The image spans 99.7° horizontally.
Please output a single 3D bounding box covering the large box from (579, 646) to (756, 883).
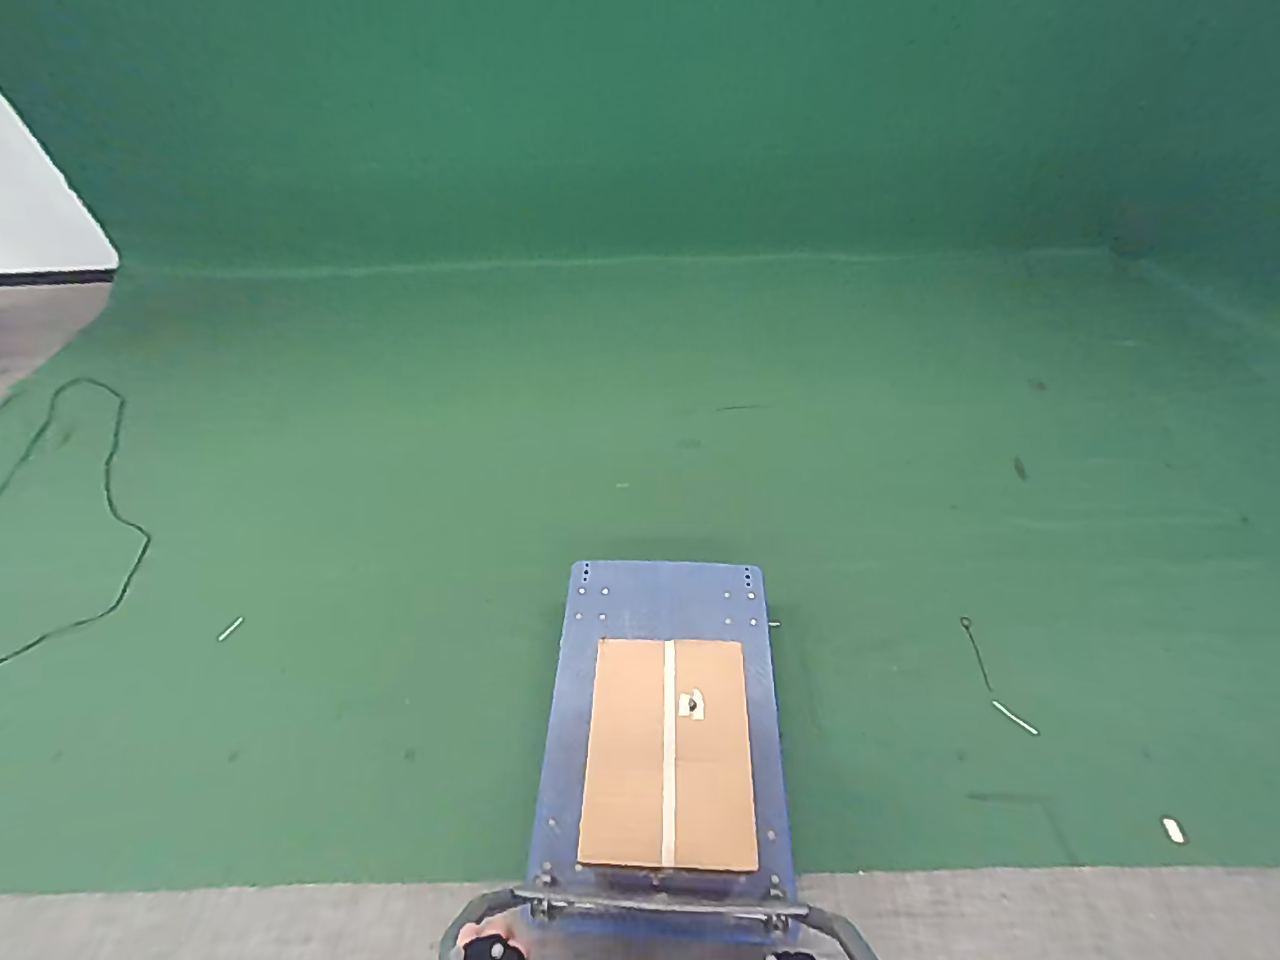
[{"bbox_3d":[0.060,0.614,1.171,0.320,0.320,0.408,1,50,3],"label":"large box"}]
